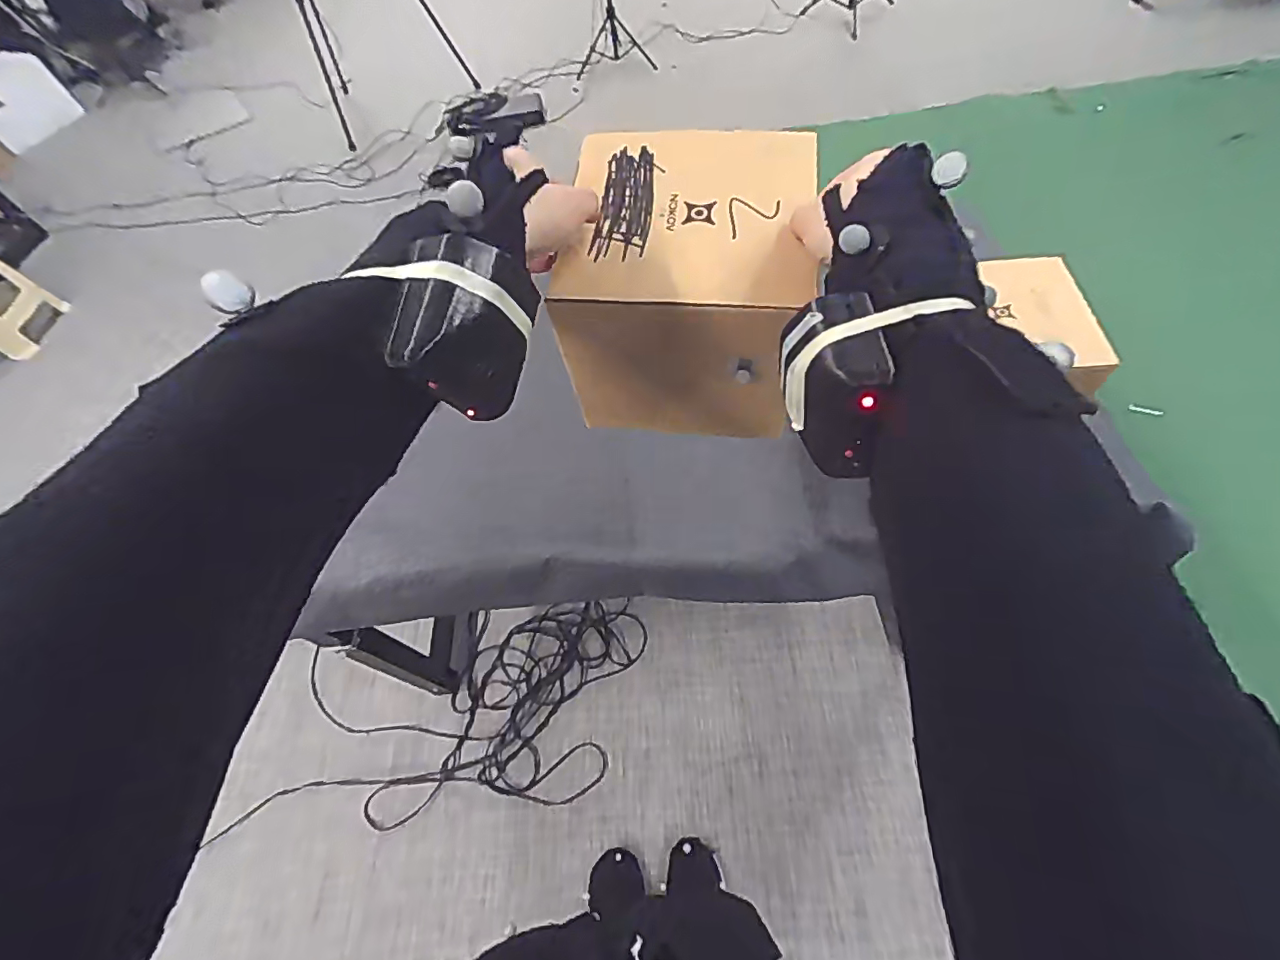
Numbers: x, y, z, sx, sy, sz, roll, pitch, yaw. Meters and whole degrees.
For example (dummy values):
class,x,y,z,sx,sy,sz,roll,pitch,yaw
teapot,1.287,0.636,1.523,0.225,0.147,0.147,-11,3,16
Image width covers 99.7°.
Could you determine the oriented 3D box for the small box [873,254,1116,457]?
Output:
class,x,y,z,sx,sy,sz,roll,pitch,yaw
small box,0.388,-0.138,0.638,0.179,0.176,0.168,-1,59,7
